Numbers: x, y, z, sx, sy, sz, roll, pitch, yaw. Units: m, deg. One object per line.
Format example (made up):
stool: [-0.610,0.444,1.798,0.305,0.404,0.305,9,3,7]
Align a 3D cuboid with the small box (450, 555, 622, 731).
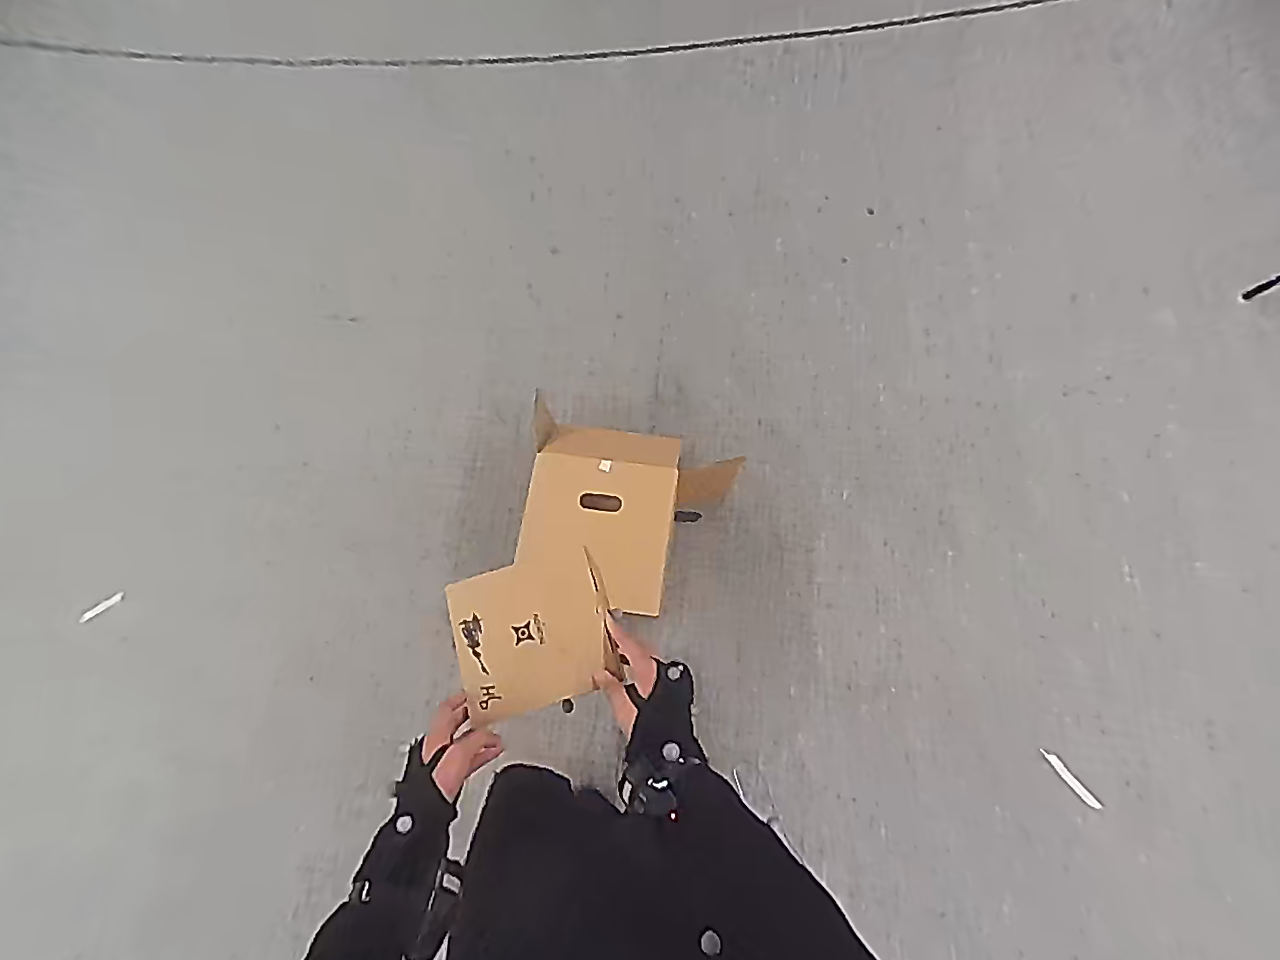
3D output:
small box: [-0.125,0.210,0.711,0.179,0.176,0.168,-16,72,-4]
